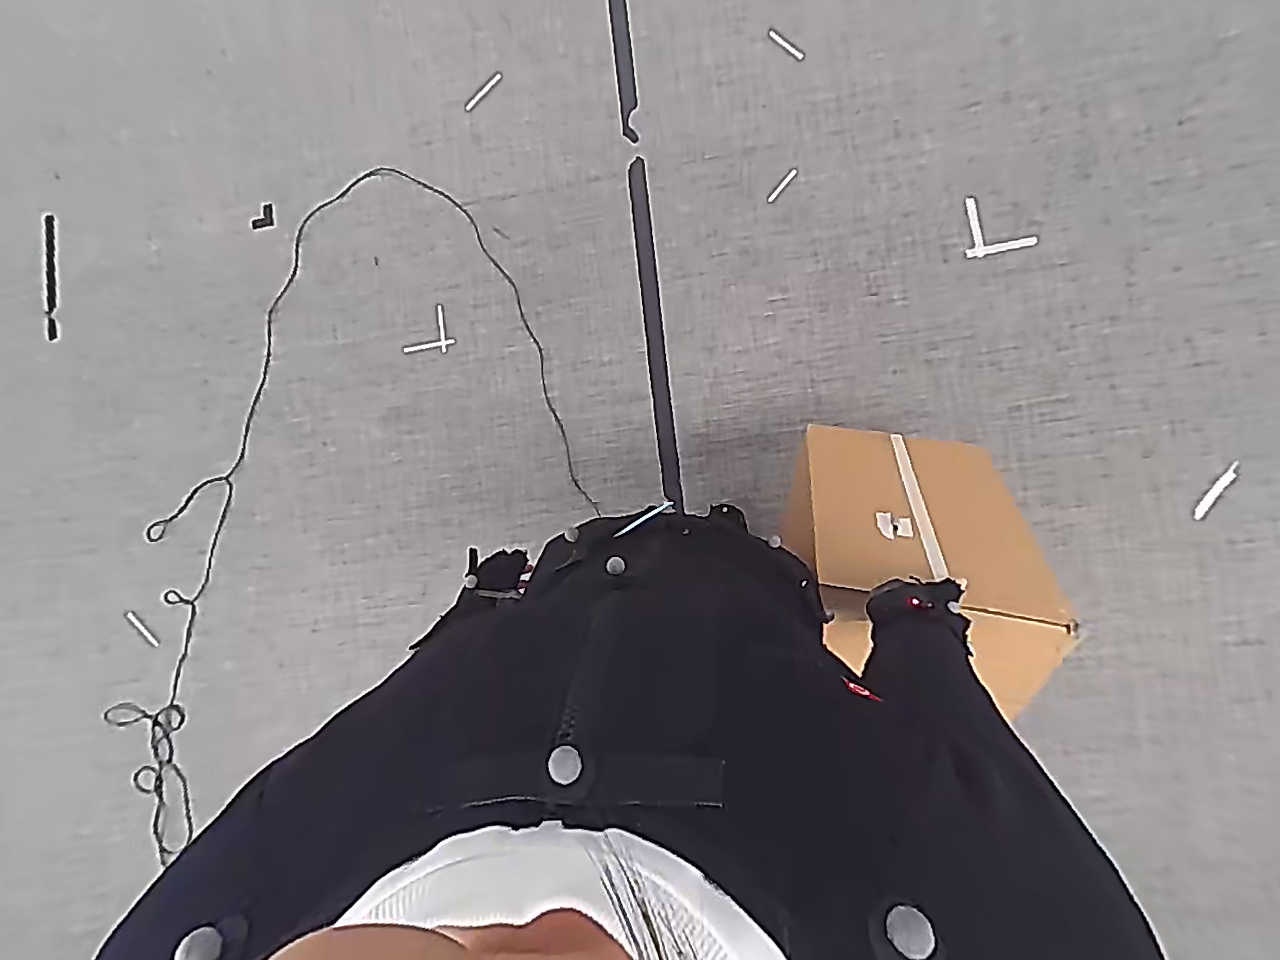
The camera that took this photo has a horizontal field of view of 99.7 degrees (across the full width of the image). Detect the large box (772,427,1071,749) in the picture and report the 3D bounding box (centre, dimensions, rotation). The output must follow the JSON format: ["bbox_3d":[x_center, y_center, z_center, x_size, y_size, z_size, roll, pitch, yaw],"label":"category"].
[{"bbox_3d":[0.405,0.160,0.913,0.320,0.408,0.320,8,129,9],"label":"large box"}]
